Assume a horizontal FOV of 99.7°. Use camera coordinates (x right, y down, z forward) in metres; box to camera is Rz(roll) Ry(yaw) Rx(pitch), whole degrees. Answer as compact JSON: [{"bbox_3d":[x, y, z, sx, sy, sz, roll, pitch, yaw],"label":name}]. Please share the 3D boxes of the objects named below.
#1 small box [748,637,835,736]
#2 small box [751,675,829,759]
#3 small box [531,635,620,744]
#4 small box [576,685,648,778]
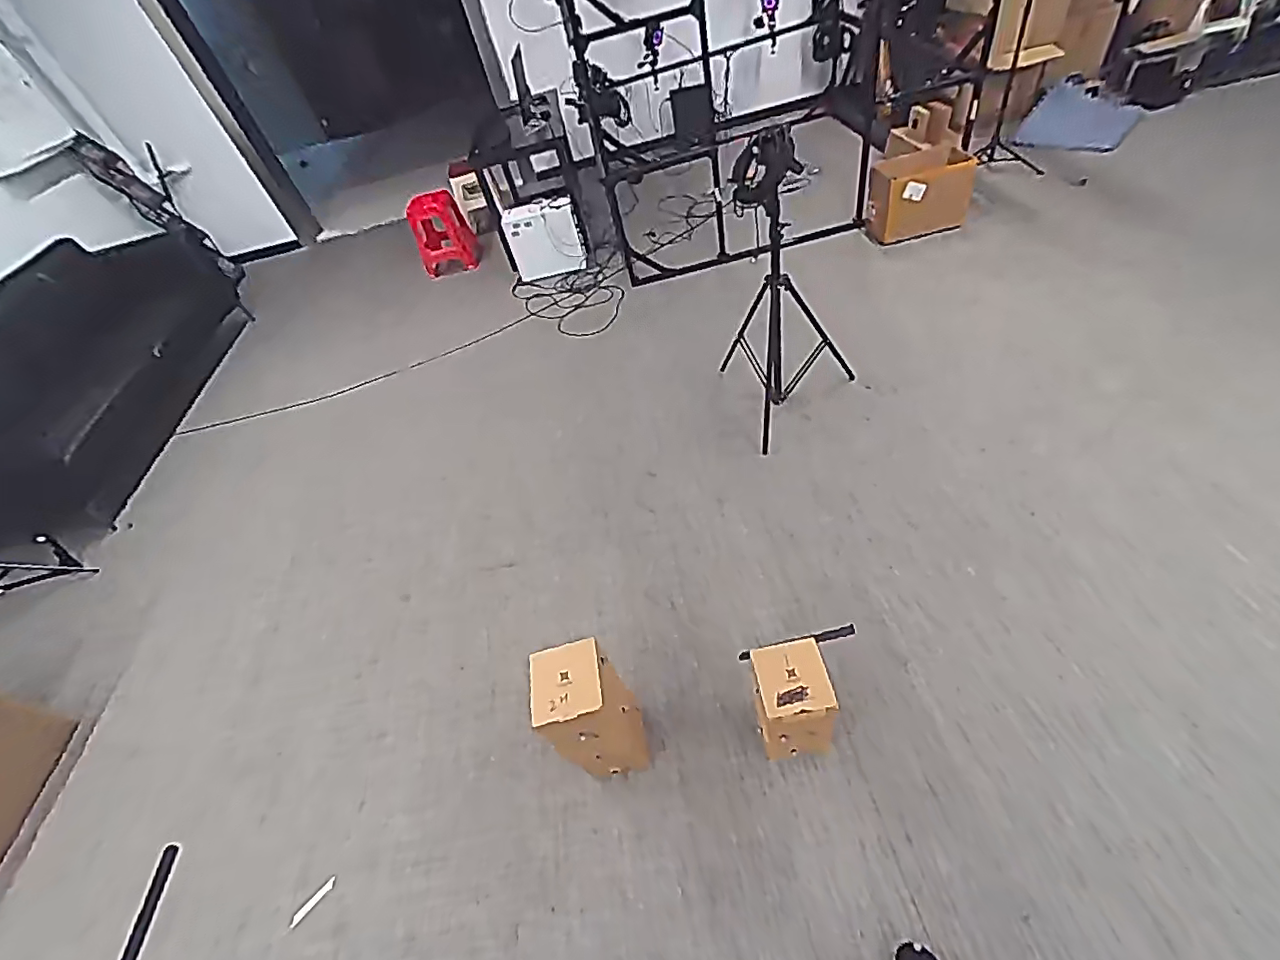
[{"bbox_3d":[0.375,0.522,1.352,0.168,0.176,0.179,-12,46,4],"label":"small box"},{"bbox_3d":[0.402,0.633,1.470,0.168,0.176,0.179,-12,47,4],"label":"small box"},{"bbox_3d":[-0.154,0.502,1.291,0.168,0.176,0.179,-16,47,3],"label":"small box"},{"bbox_3d":[-0.082,0.713,1.532,0.168,0.176,0.179,-16,46,2],"label":"small box"}]
